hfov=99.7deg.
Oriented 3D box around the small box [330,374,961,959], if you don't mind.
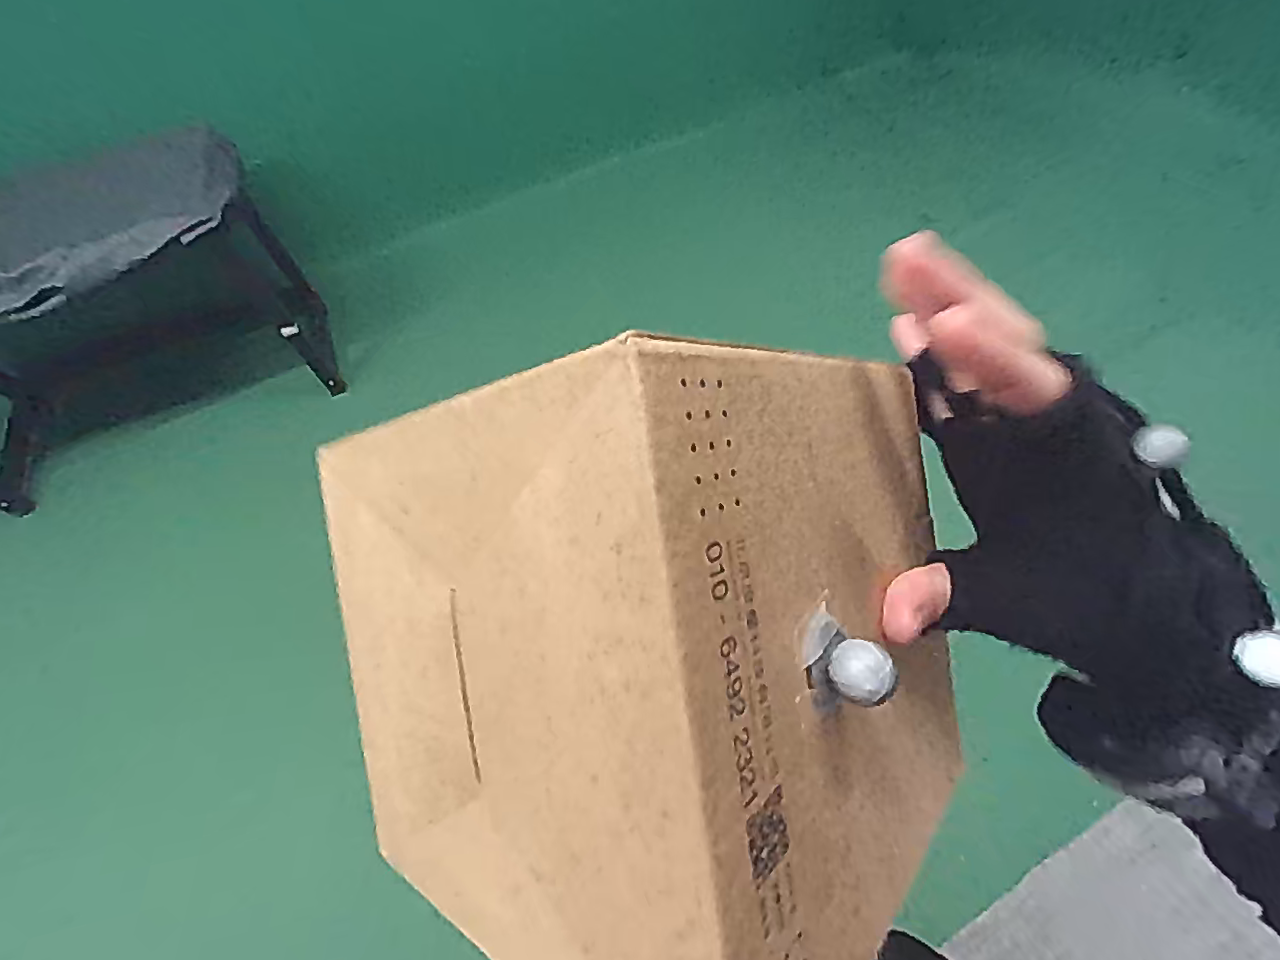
[{"bbox_3d":[0.003,0.054,0.213,0.179,0.176,0.168,-5,95,42],"label":"small box"}]
